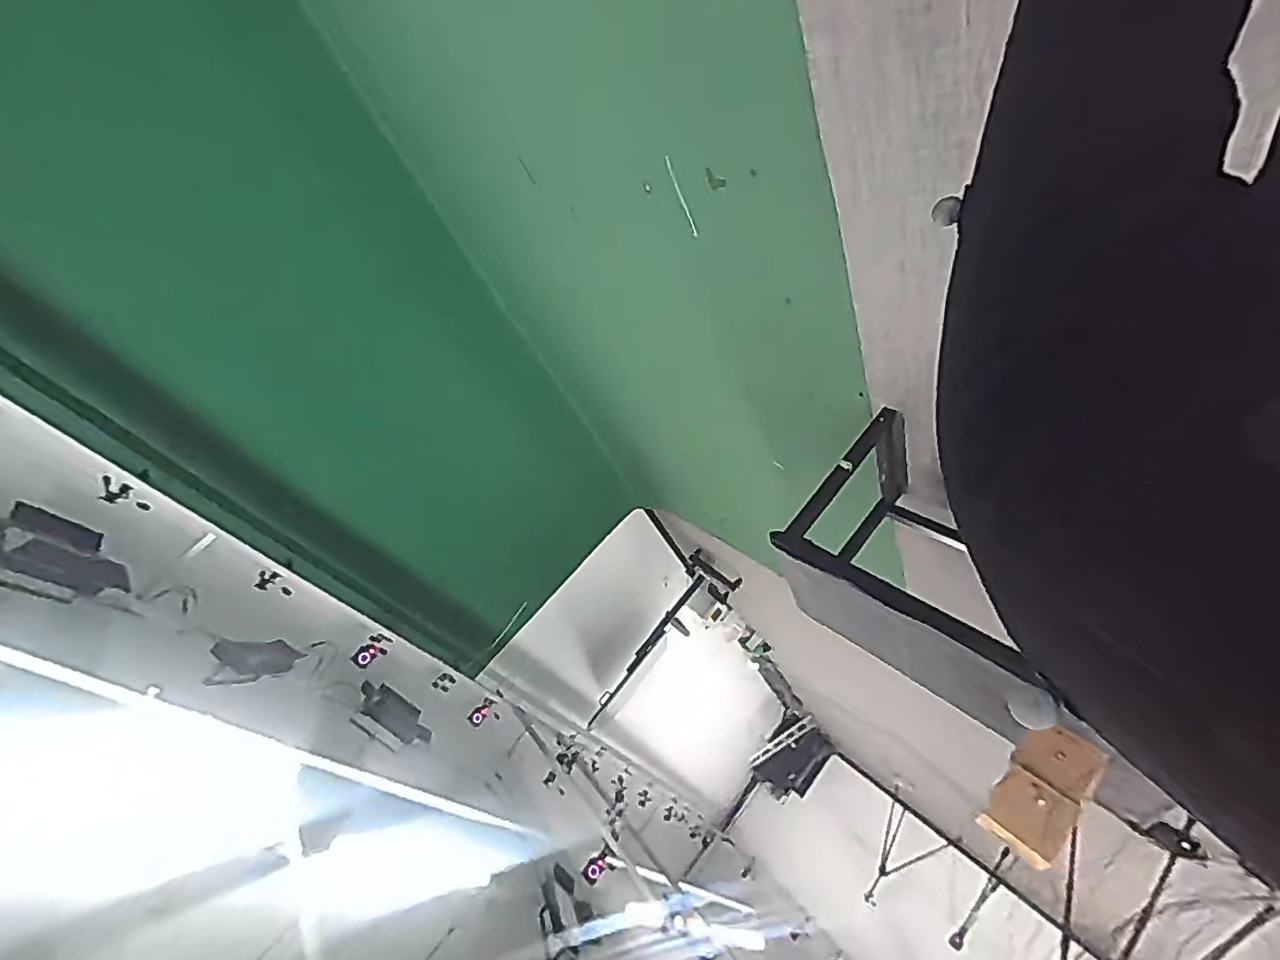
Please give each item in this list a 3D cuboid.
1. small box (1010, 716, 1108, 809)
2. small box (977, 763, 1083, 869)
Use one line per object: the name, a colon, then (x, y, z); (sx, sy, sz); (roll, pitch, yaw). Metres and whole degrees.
small box: (1.154, 0.789, 1.494); (0.168, 0.176, 0.179); (29, 160, 48)
small box: (1.038, 0.895, 1.444); (0.168, 0.176, 0.179); (32, 161, 40)
